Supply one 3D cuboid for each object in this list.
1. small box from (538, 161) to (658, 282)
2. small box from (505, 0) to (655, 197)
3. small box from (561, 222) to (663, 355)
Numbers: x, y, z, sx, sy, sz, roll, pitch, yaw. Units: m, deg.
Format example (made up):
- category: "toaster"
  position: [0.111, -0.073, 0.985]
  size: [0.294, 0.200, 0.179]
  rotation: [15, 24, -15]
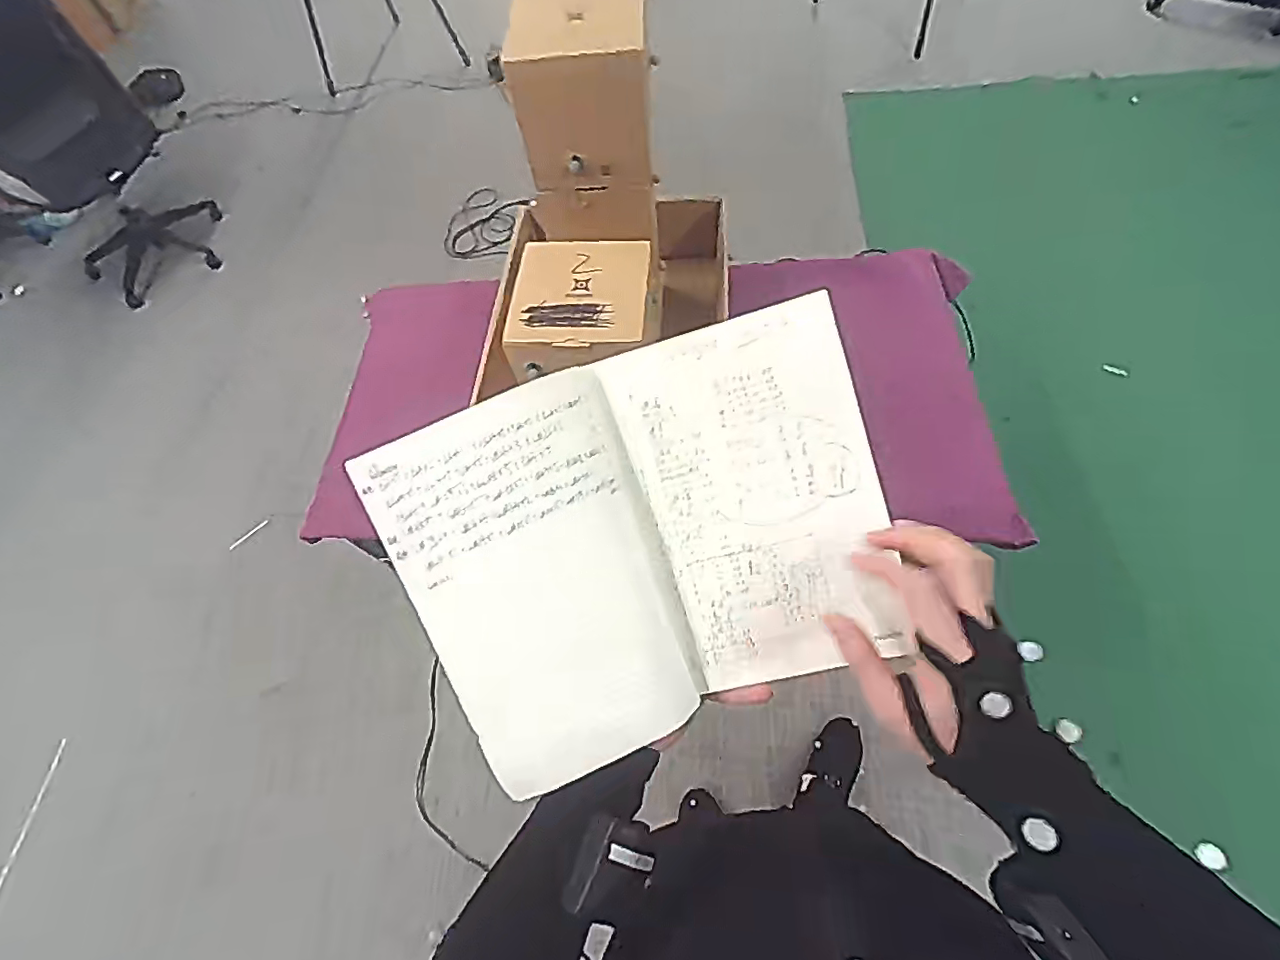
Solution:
- category: "small box"
  position: [-0.057, -0.439, 0.871]
  size: [0.168, 0.176, 0.179]
  rotation: [-1, 62, 4]
- category: "small box"
  position: [-0.067, -0.512, 0.726]
  size: [0.168, 0.176, 0.179]
  rotation: [-1, 64, 5]
- category: "small box"
  position: [-0.044, -0.357, 1.013]
  size: [0.168, 0.176, 0.179]
  rotation: [-1, 64, 5]
